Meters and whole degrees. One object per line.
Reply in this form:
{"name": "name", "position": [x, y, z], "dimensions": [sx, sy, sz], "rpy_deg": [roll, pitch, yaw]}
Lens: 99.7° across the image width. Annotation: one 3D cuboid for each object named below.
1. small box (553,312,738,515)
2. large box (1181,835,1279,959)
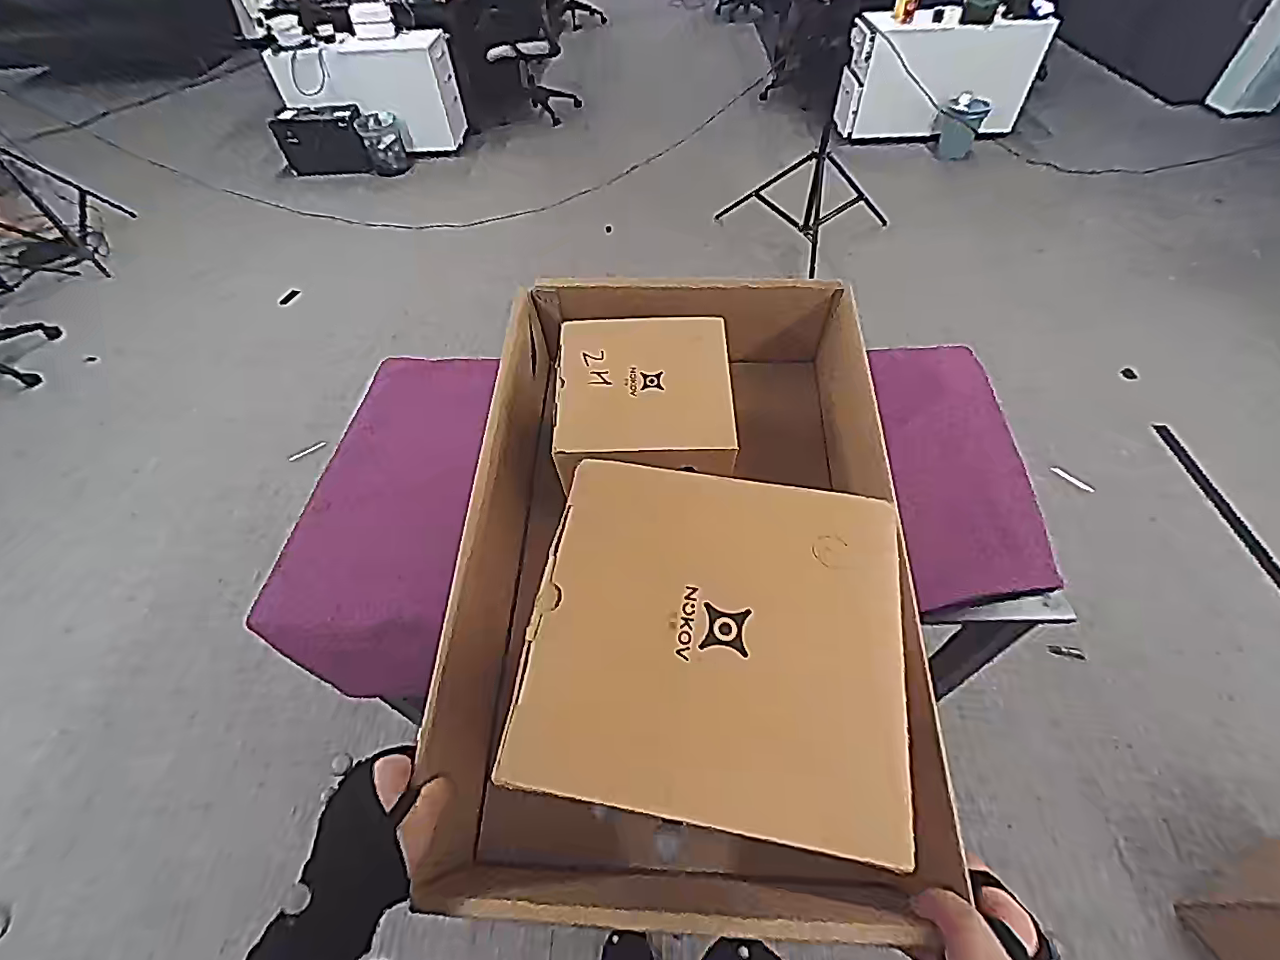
{"name": "small box", "position": [0.005, -0.068, 0.610], "dimensions": [0.179, 0.176, 0.168], "rpy_deg": [-1, 61, 1]}
{"name": "large box", "position": [1.324, 0.878, 0.921], "dimensions": [0.320, 0.320, 0.408], "rpy_deg": [-21, 52, -15]}
